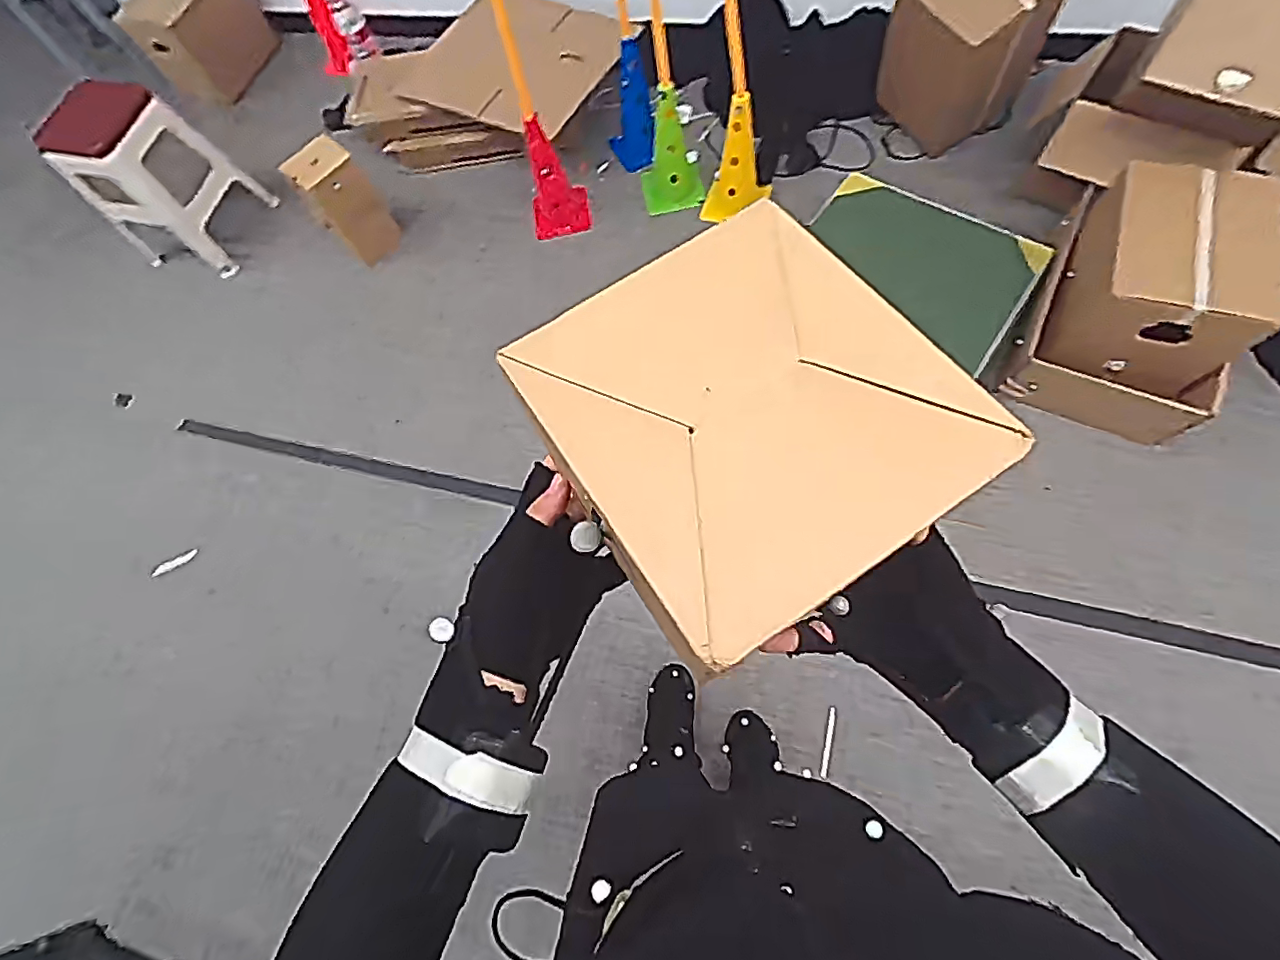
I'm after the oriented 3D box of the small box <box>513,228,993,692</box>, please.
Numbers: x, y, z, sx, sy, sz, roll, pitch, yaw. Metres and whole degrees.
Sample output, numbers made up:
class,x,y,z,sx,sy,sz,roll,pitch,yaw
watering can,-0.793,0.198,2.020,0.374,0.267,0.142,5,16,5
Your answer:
class,x,y,z,sx,sy,sz,roll,pitch,yaw
small box,0.045,-0.002,0.309,0.168,0.176,0.179,-31,70,-8
